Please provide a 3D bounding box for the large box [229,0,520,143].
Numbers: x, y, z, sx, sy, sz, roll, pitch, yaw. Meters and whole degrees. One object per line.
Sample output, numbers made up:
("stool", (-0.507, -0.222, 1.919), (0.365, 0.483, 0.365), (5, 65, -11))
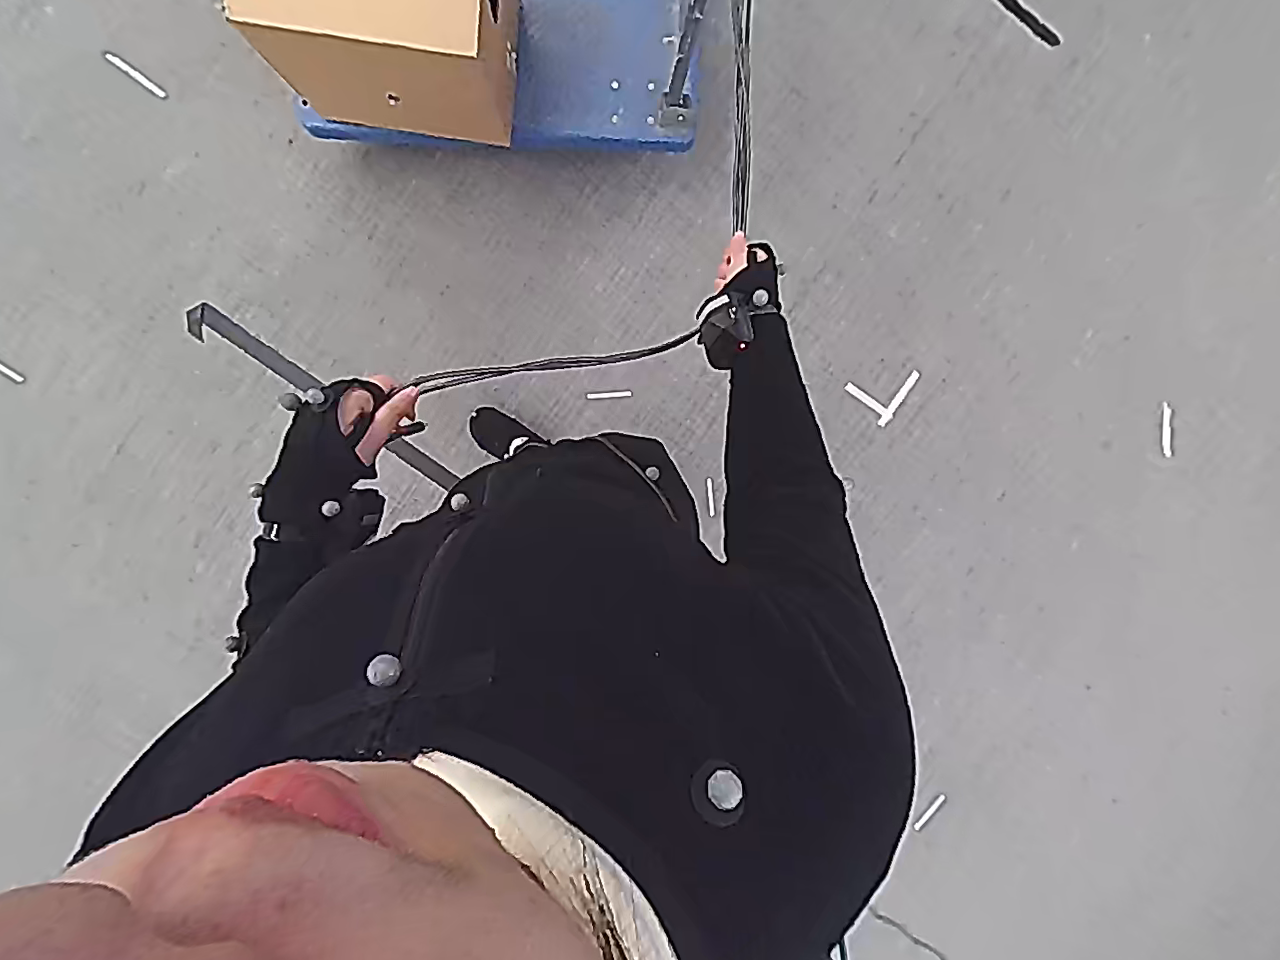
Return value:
("large box", (-0.453, -0.878, 1.006), (0.408, 0.320, 0.320), (6, 96, -4))
